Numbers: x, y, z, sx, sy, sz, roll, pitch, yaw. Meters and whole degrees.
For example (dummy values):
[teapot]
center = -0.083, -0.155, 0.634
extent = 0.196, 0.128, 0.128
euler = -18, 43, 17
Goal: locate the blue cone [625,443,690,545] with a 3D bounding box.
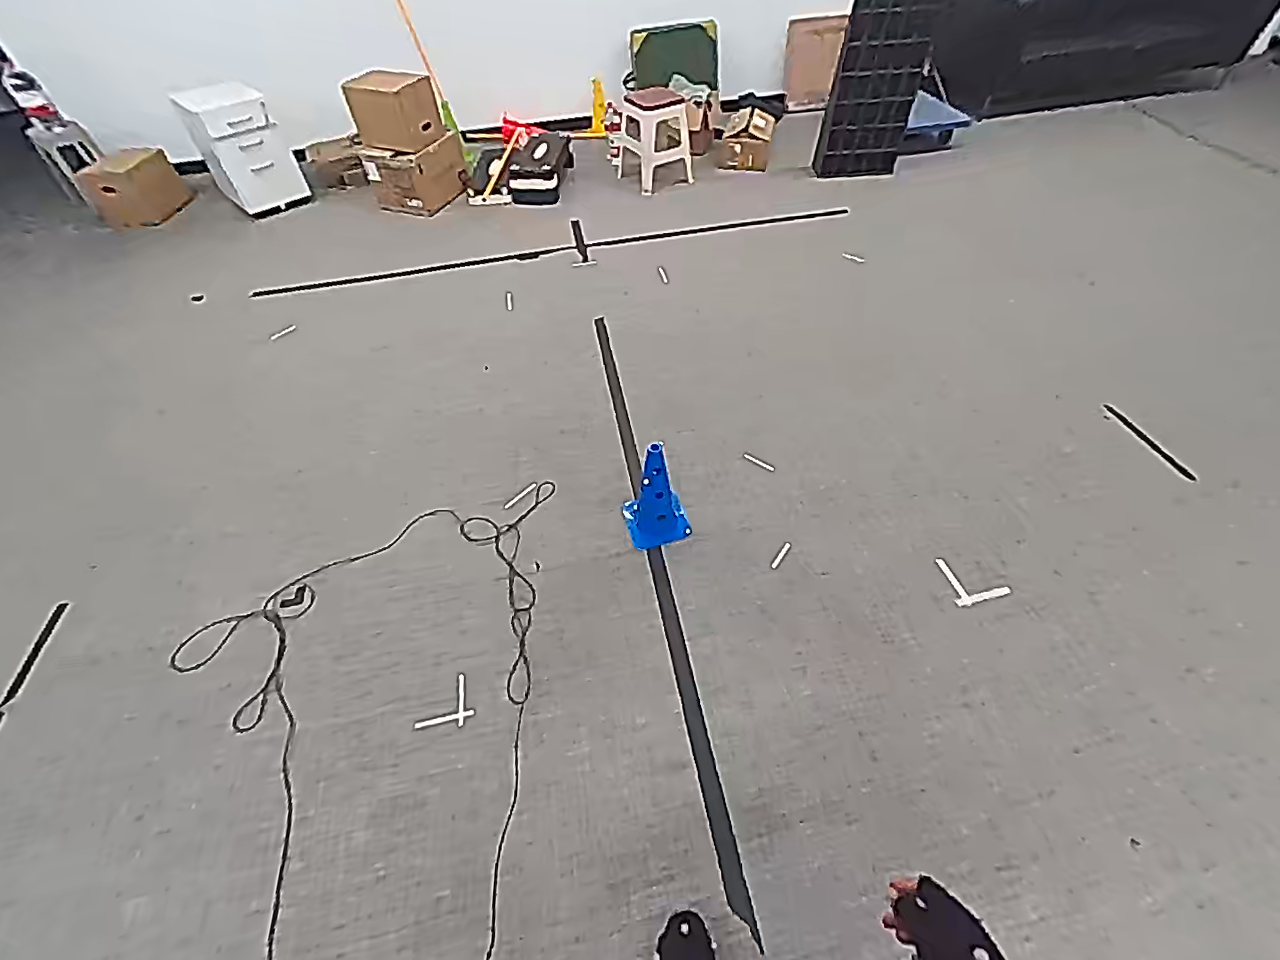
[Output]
[blue cone]
center = 0.051, 0.026, 1.687
extent = 0.192, 0.380, 0.193
euler = -12, 51, -9
